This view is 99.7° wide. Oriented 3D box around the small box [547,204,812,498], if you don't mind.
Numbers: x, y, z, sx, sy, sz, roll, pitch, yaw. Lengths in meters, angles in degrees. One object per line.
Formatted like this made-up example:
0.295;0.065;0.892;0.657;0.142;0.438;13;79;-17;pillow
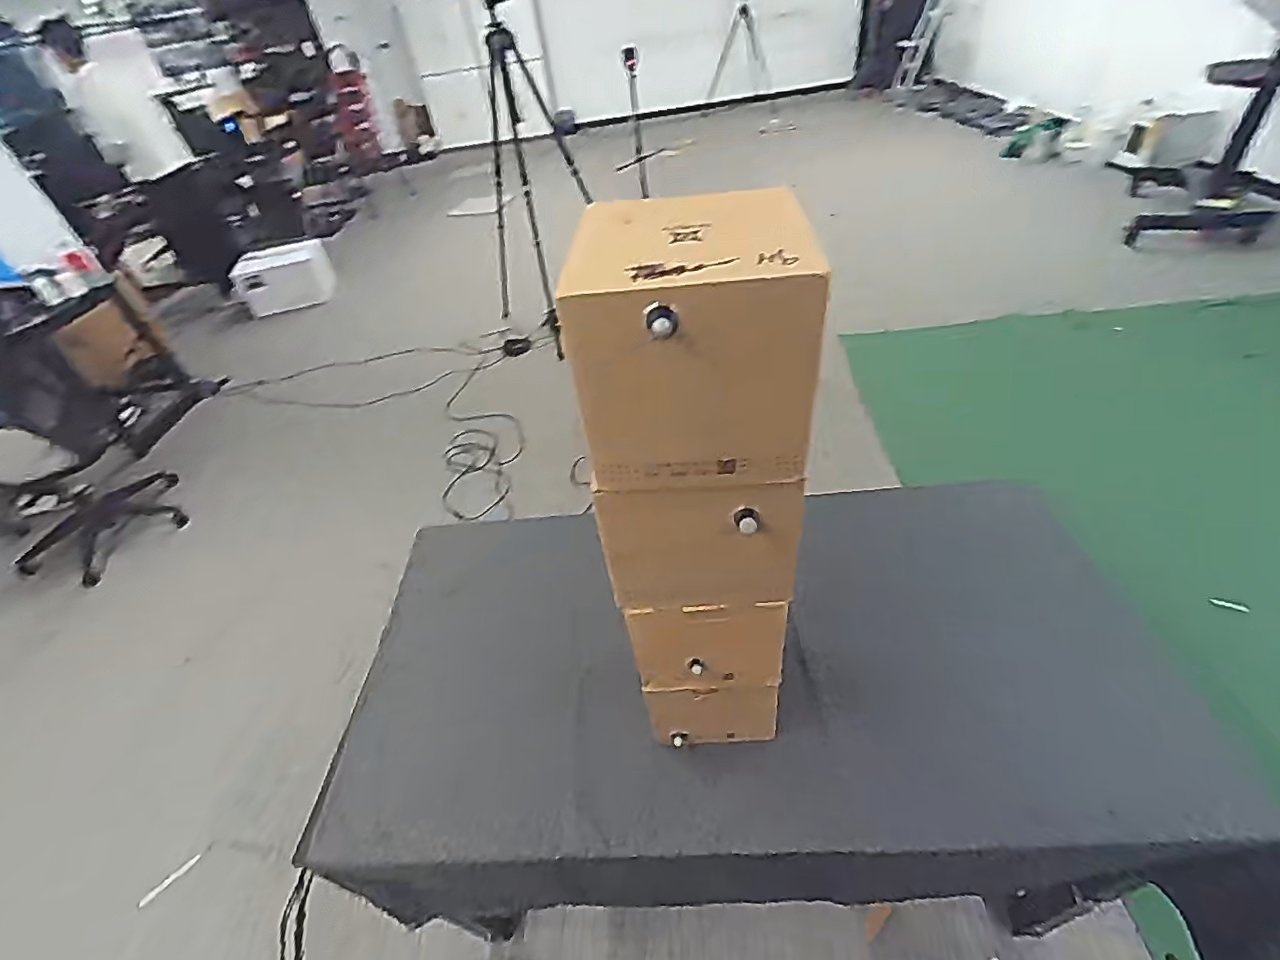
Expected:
0.035;-0.105;0.443;0.168;0.176;0.179;-4;42;7;small box

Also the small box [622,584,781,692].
0.072;0.135;0.664;0.168;0.176;0.179;-6;42;5;small box

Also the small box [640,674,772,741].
0.093;0.255;0.772;0.168;0.176;0.179;-6;41;5;small box

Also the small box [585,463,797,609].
0.052;0.016;0.552;0.179;0.176;0.168;-5;42;6;small box
